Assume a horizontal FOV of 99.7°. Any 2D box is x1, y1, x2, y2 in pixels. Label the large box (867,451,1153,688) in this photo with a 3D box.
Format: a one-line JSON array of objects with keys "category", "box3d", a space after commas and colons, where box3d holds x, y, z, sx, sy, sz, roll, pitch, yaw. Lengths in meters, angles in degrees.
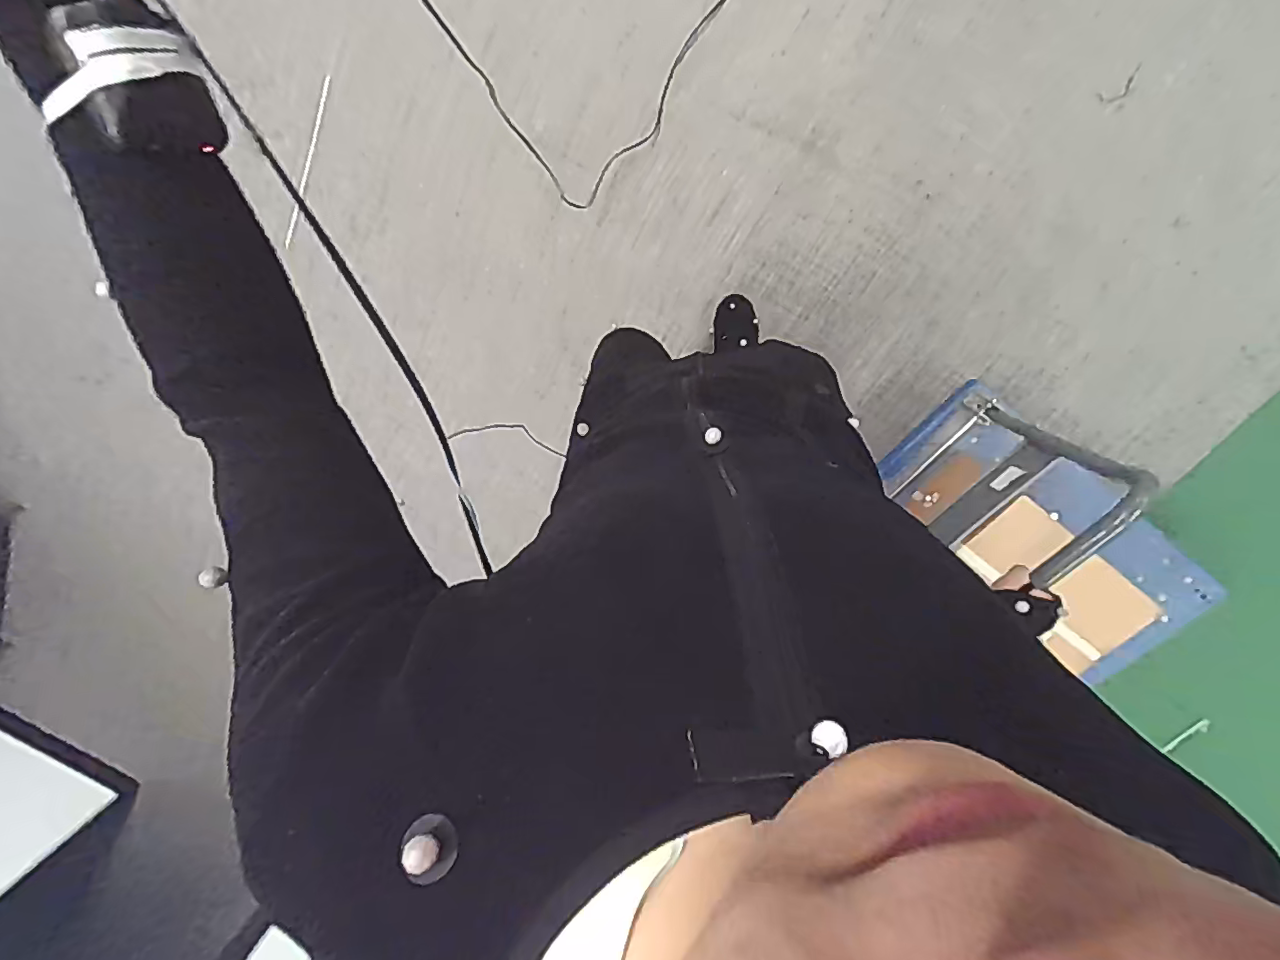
[{"category": "large box", "box3d": [0.833, 0.195, 1.288, 0.408, 0.320, 0.320, 37, 111, -5]}]
